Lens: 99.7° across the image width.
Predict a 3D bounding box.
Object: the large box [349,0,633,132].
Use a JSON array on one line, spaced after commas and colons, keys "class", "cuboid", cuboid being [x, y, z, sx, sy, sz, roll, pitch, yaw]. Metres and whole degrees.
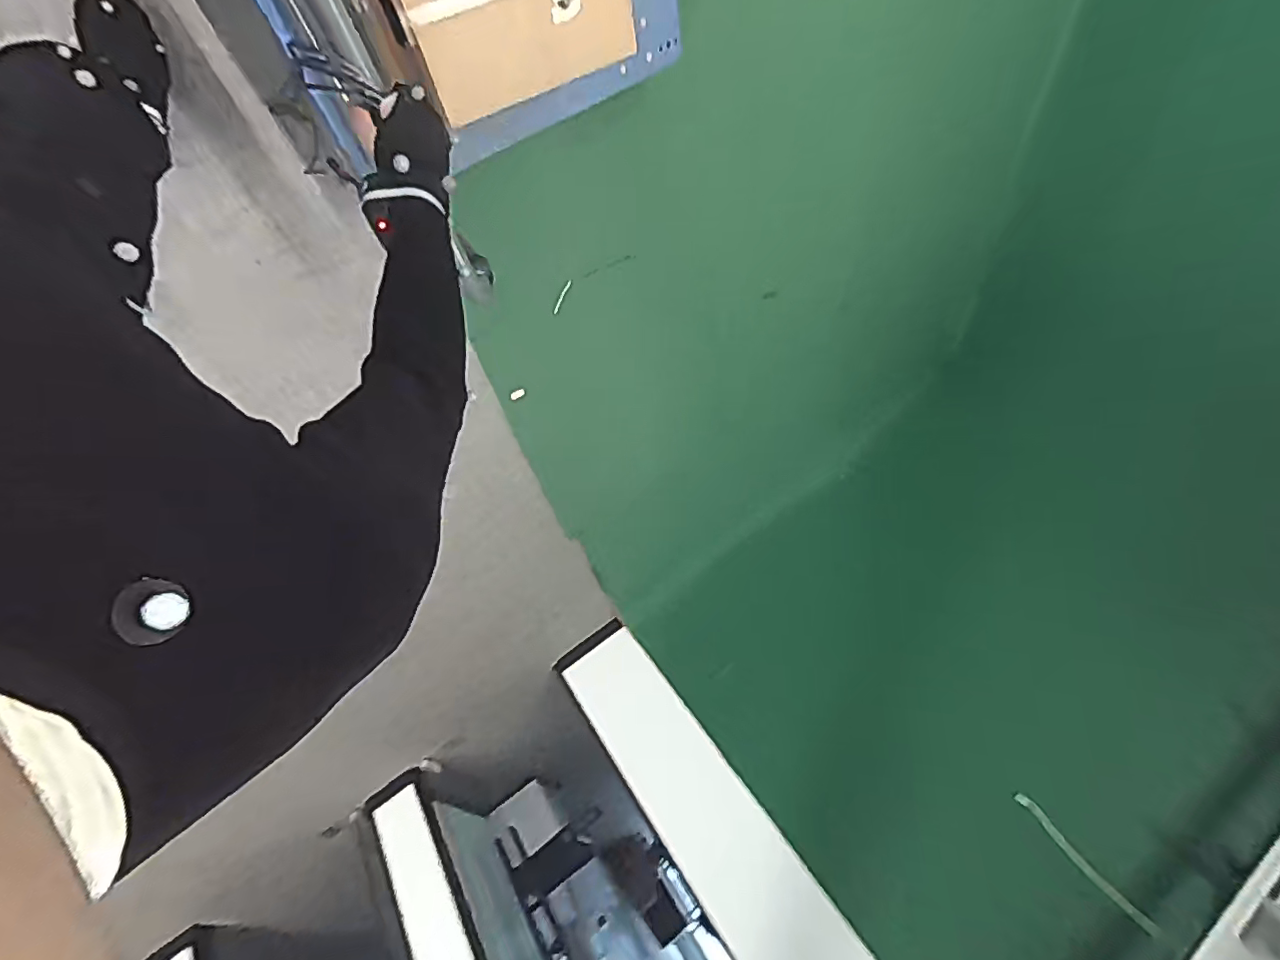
[{"class": "large box", "cuboid": [-0.284, -0.886, 0.961, 0.408, 0.320, 0.320, -34, 143, -15]}]
